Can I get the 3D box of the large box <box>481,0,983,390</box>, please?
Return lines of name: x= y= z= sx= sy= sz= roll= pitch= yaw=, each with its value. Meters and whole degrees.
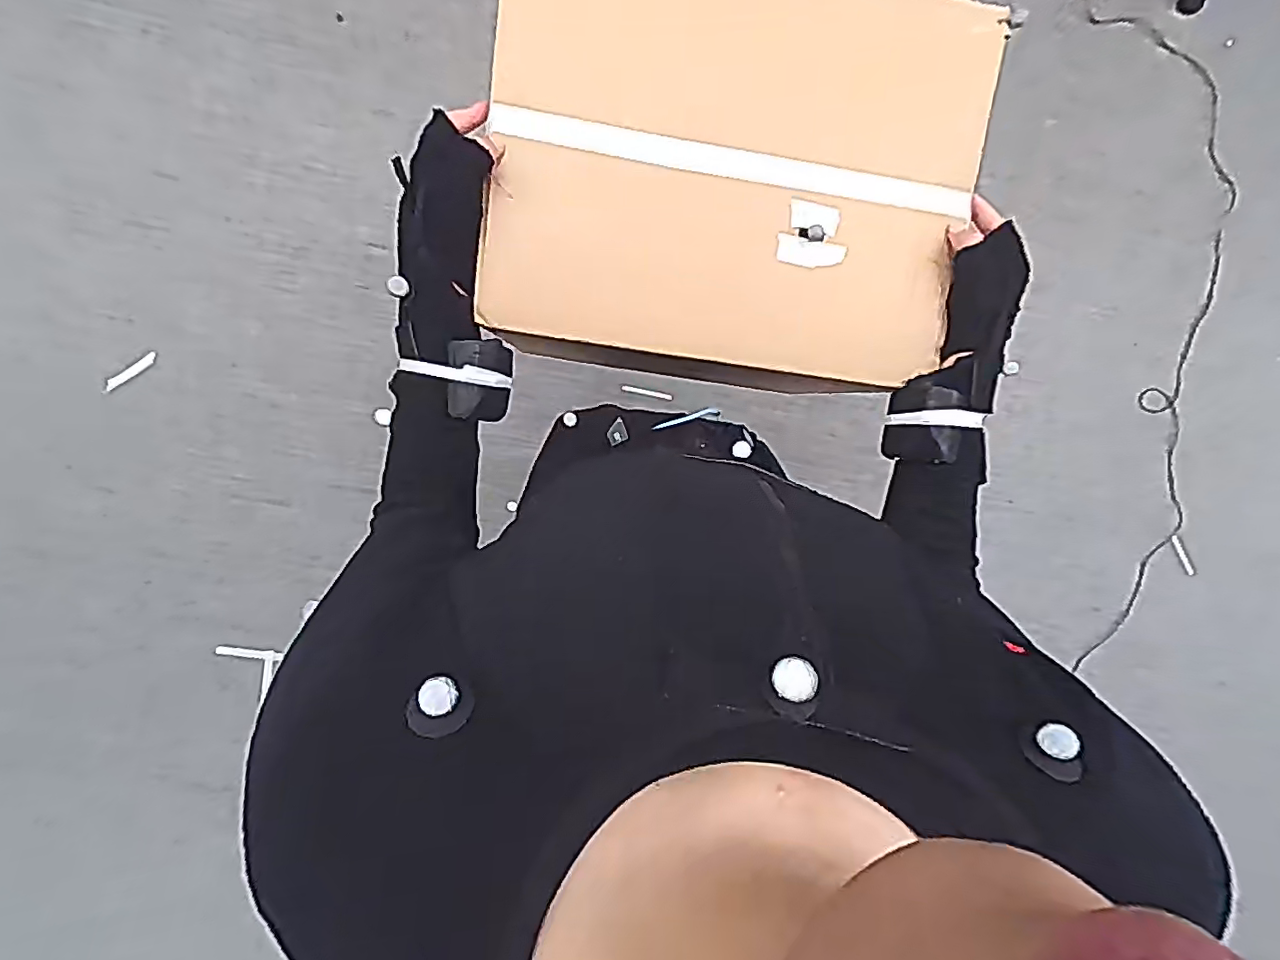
large box: x=0.061 y=-0.278 z=0.600 sx=0.408 sy=0.320 sz=0.320 roll=7 pitch=99 yaw=-8
